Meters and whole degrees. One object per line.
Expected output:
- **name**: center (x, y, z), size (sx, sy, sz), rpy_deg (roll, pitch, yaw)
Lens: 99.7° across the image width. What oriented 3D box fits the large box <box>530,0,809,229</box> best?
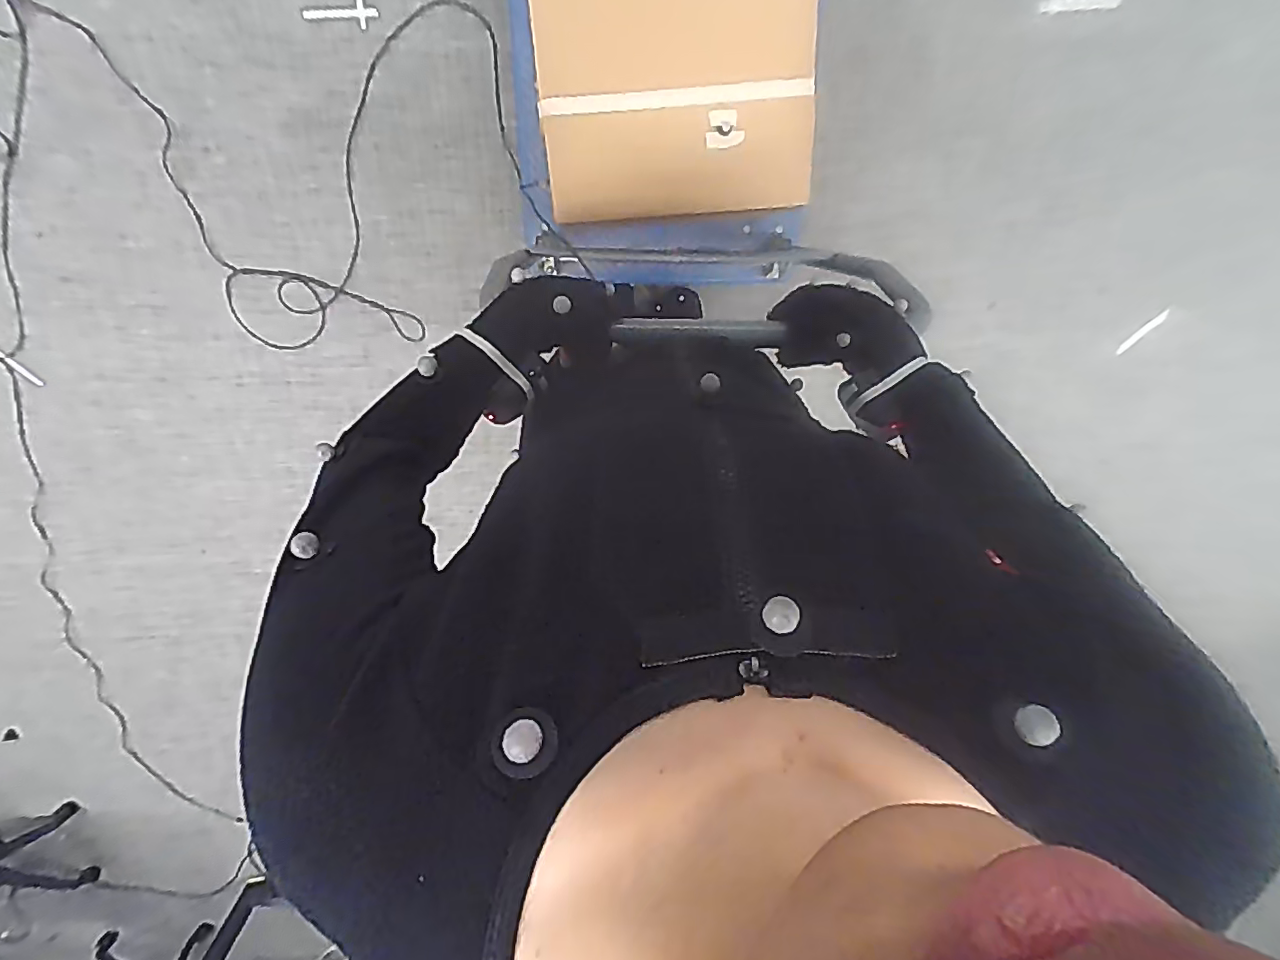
- **large box**: center (0.045, -0.632, 0.945), size (0.408, 0.320, 0.320), rpy_deg (-5, 113, -1)
